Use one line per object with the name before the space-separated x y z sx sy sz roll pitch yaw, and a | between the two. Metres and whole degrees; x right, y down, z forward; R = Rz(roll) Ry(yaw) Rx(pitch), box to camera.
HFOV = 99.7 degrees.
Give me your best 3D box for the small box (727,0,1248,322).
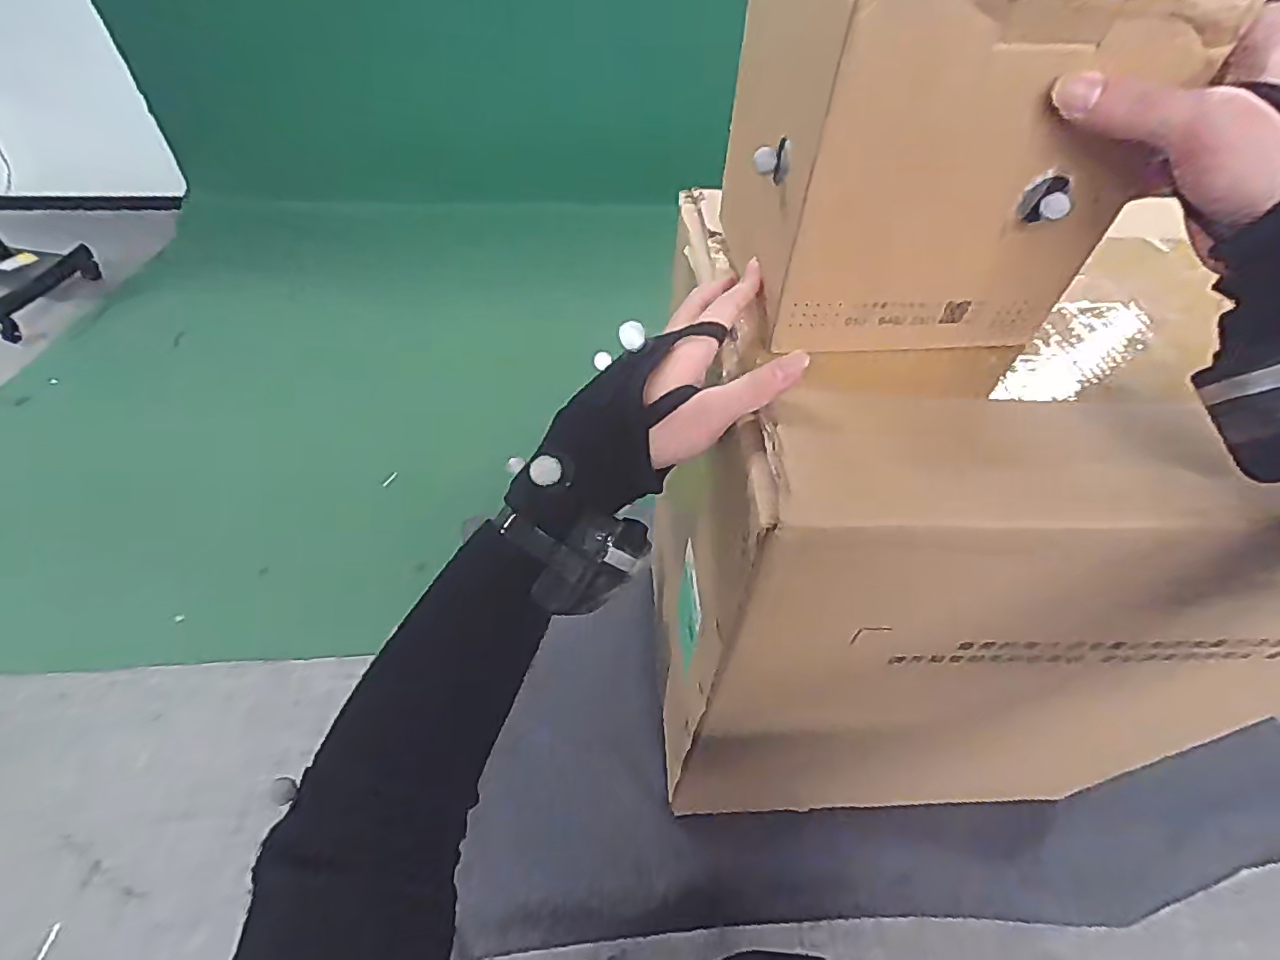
small box | 0.157 -0.207 0.312 0.168 0.176 0.179 -1 49 -6
